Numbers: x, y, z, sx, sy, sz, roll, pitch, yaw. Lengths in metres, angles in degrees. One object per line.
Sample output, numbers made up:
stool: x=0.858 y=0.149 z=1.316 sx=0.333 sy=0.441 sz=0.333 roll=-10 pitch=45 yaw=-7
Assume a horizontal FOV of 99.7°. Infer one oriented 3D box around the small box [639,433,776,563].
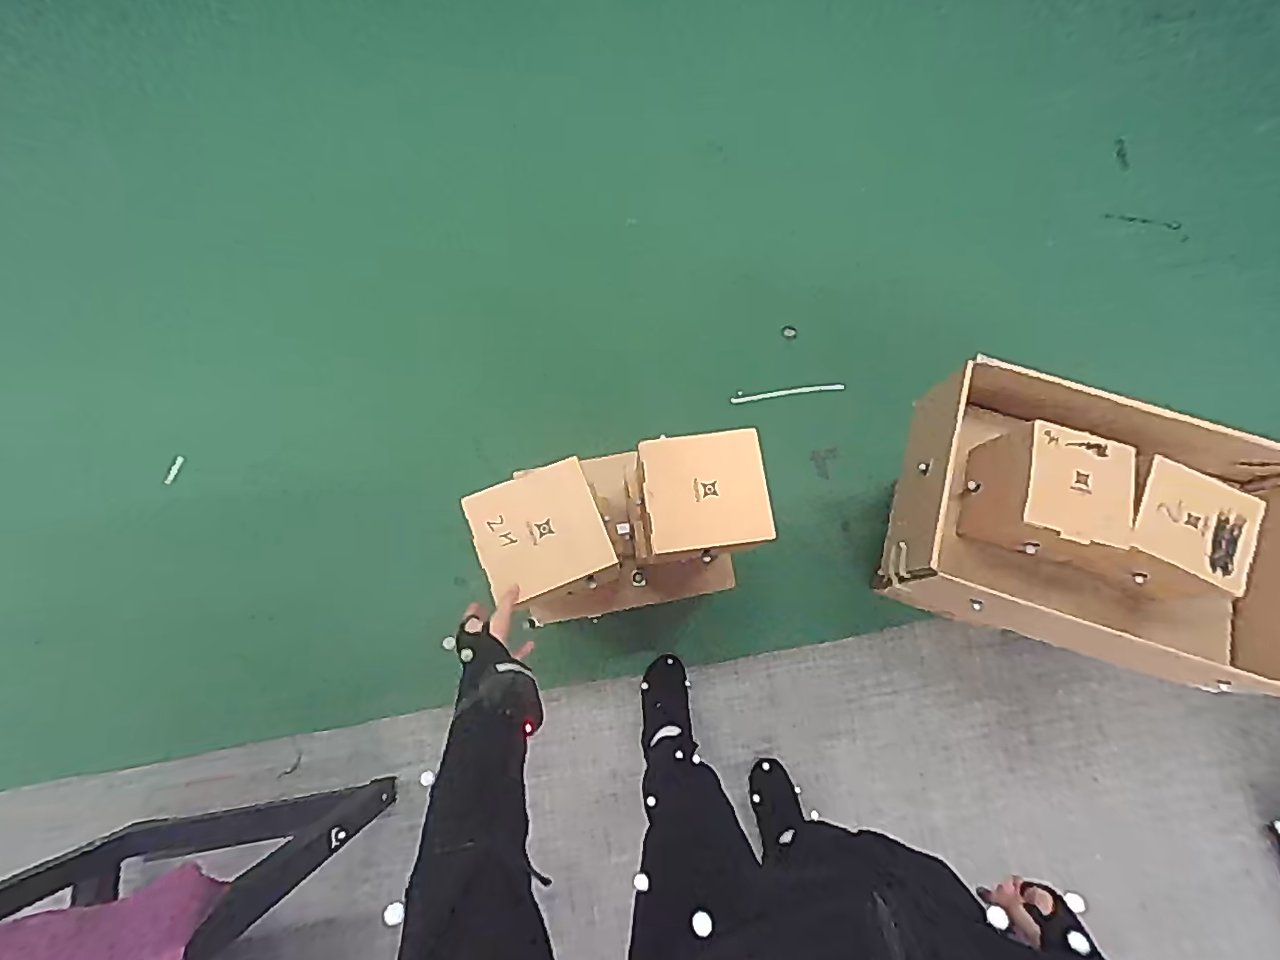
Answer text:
small box: x=0.094 y=0.035 z=0.845 sx=0.179 sy=0.176 sz=0.168 roll=-7 pitch=78 yaw=-2
